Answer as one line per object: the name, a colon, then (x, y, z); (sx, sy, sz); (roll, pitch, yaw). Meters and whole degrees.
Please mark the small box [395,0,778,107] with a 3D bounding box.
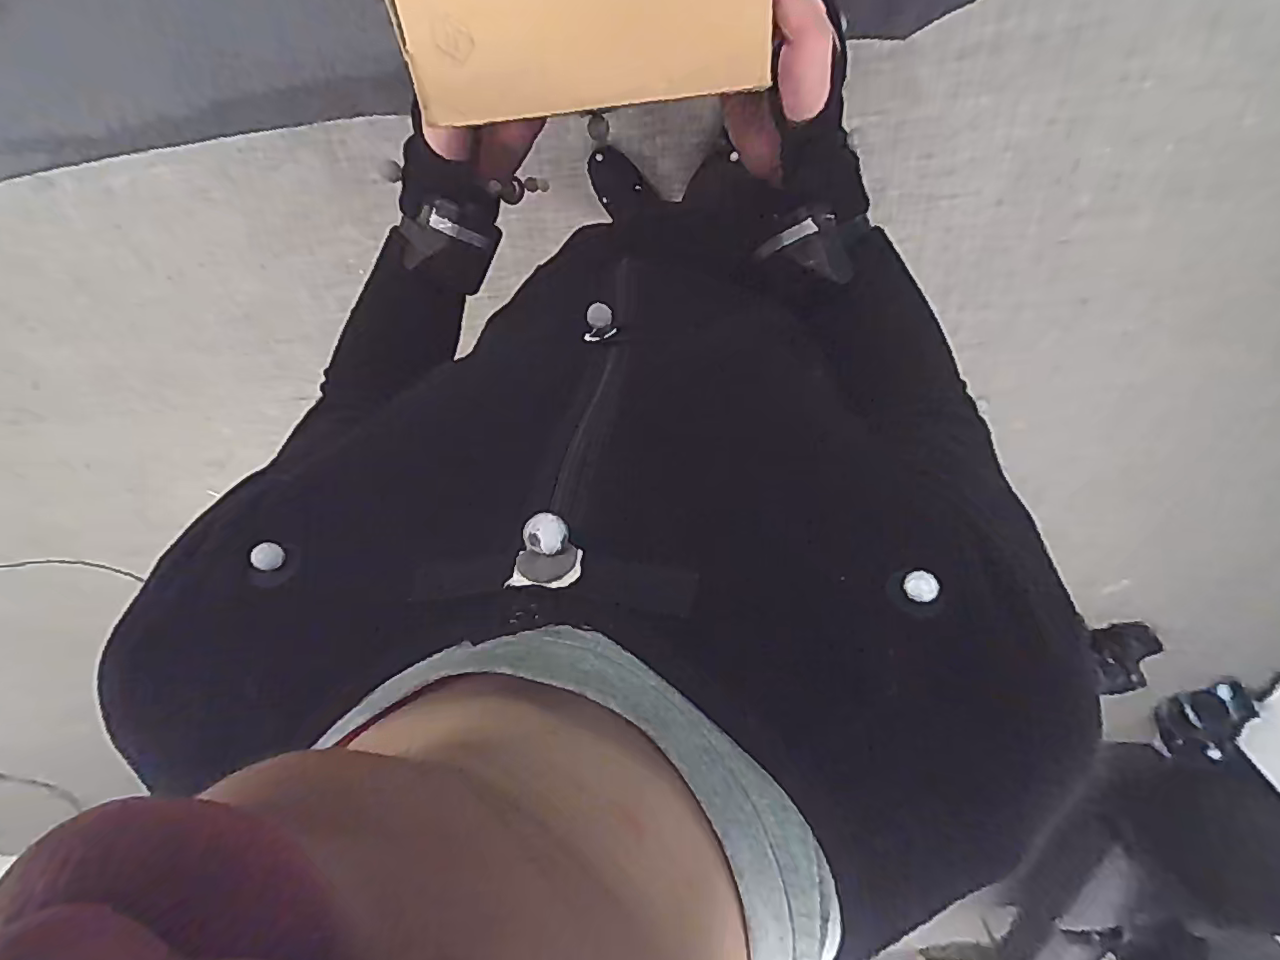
small box: (-0.019, -0.297, 0.273); (0.179, 0.176, 0.168); (0, 126, 12)
